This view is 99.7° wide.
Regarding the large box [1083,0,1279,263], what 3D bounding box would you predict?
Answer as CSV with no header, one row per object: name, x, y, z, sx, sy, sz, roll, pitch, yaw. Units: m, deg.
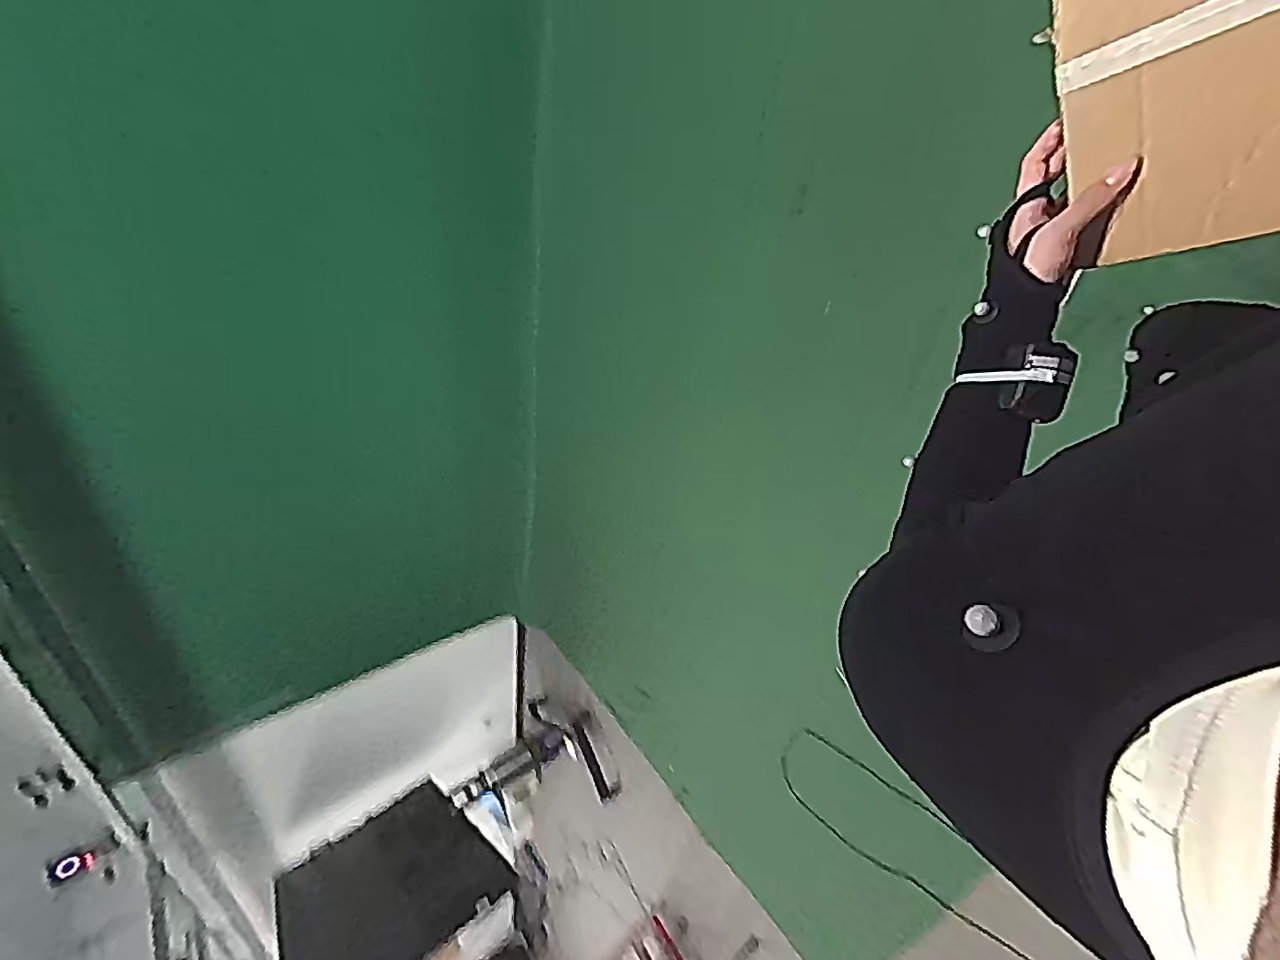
large box,0.589,-0.391,0.371,0.408,0.320,0.320,3,122,49

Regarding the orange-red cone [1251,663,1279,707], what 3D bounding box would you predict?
orange-red cone,1.323,0.492,1.022,0.198,0.360,0.199,45,138,33
